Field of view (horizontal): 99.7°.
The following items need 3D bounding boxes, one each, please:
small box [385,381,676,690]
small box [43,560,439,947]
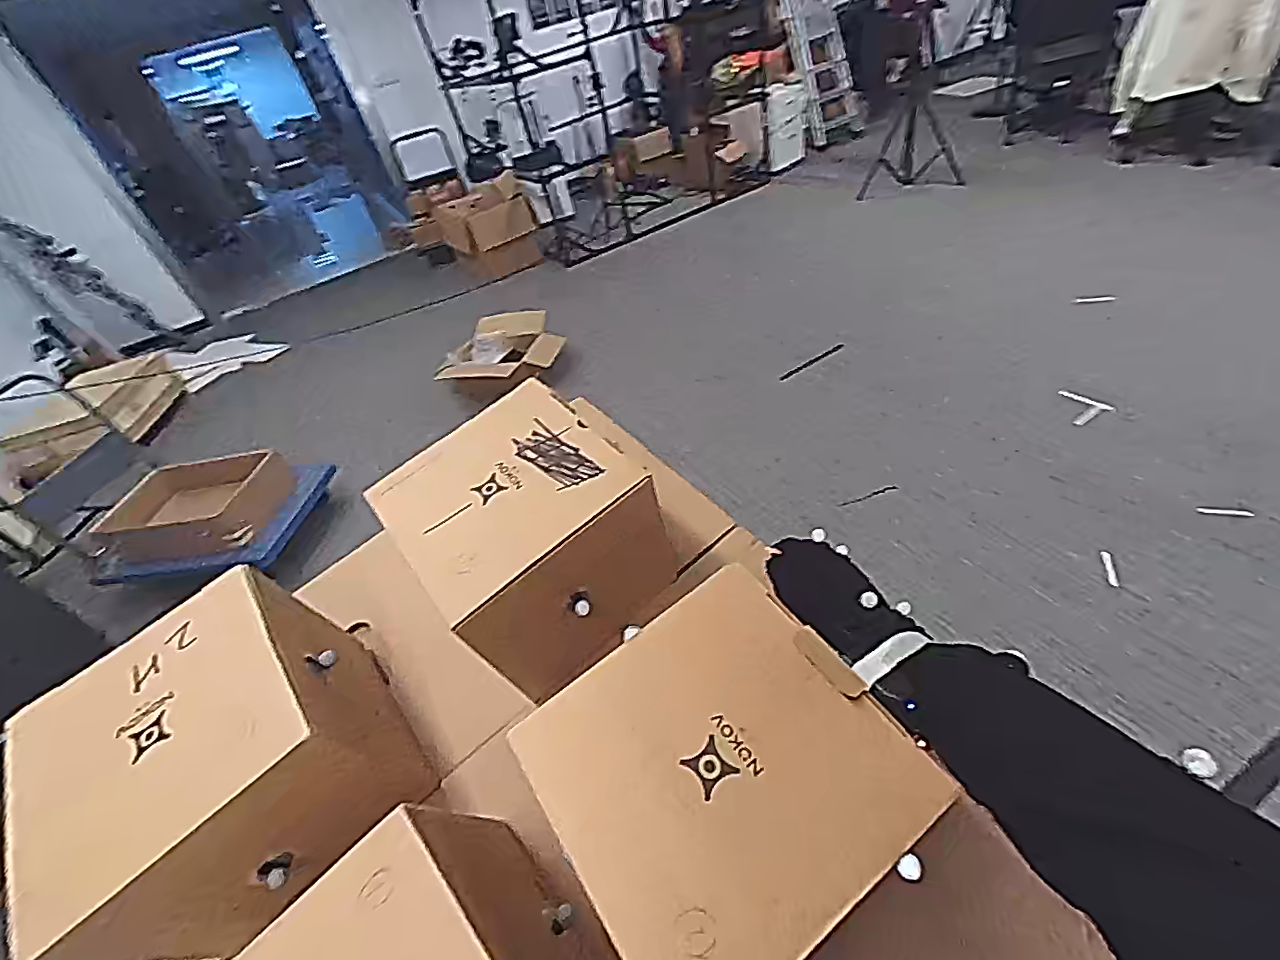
[{"bbox_3d":[-0.082,0.051,0.485,0.179,0.176,0.168,-37,53,-14],"label":"small box"},{"bbox_3d":[-0.288,0.203,0.417,0.168,0.176,0.179,-37,53,-17],"label":"small box"}]
